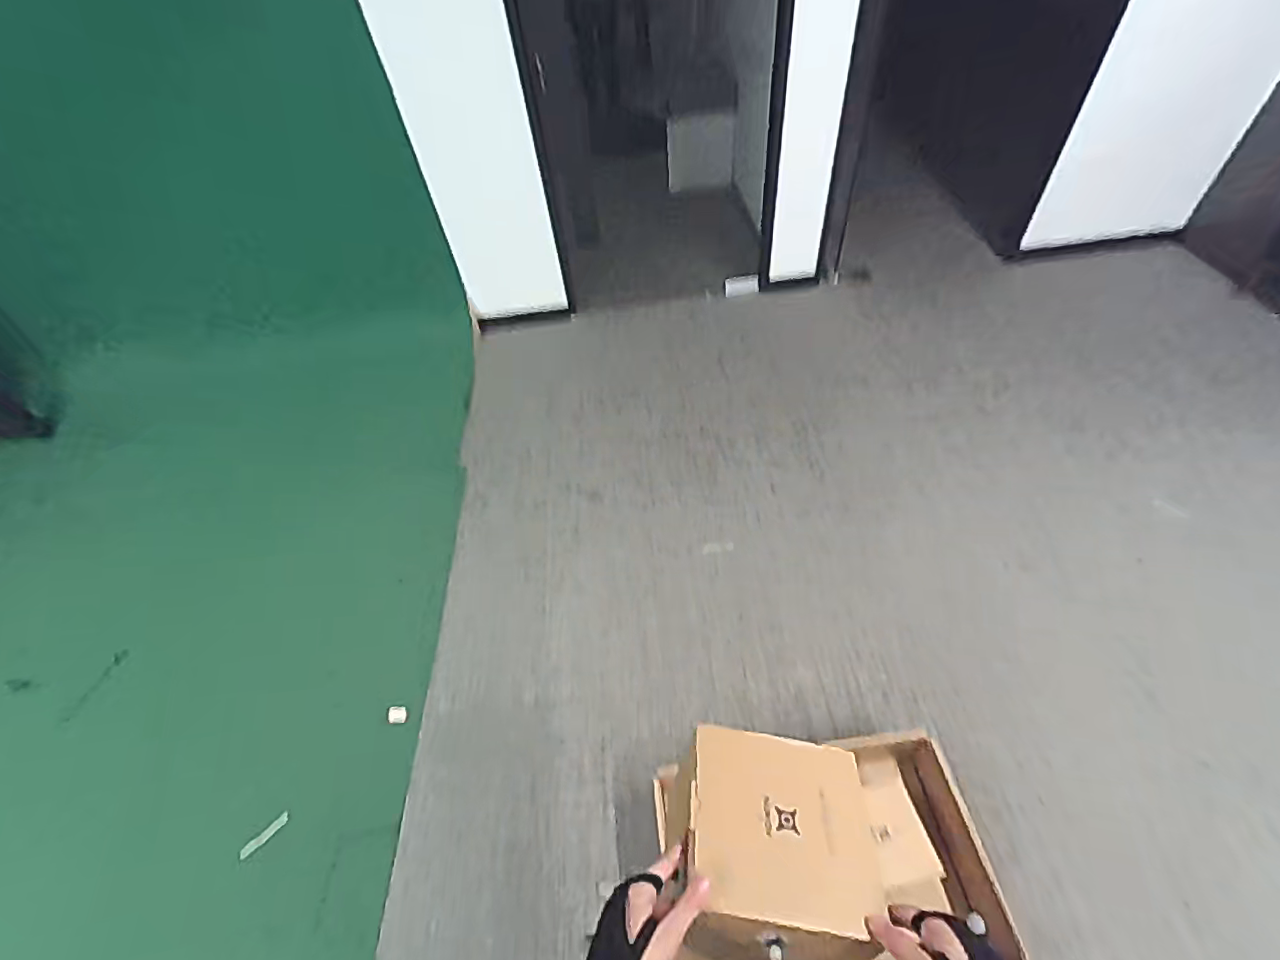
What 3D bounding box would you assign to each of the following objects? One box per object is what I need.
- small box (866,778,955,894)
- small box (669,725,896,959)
[{"bbox_3d":[0.491,0.735,1.100,0.179,0.176,0.168,-14,50,-3],"label":"small box"},{"bbox_3d":[0.129,0.387,0.560,0.179,0.176,0.168,10,37,1],"label":"small box"}]
